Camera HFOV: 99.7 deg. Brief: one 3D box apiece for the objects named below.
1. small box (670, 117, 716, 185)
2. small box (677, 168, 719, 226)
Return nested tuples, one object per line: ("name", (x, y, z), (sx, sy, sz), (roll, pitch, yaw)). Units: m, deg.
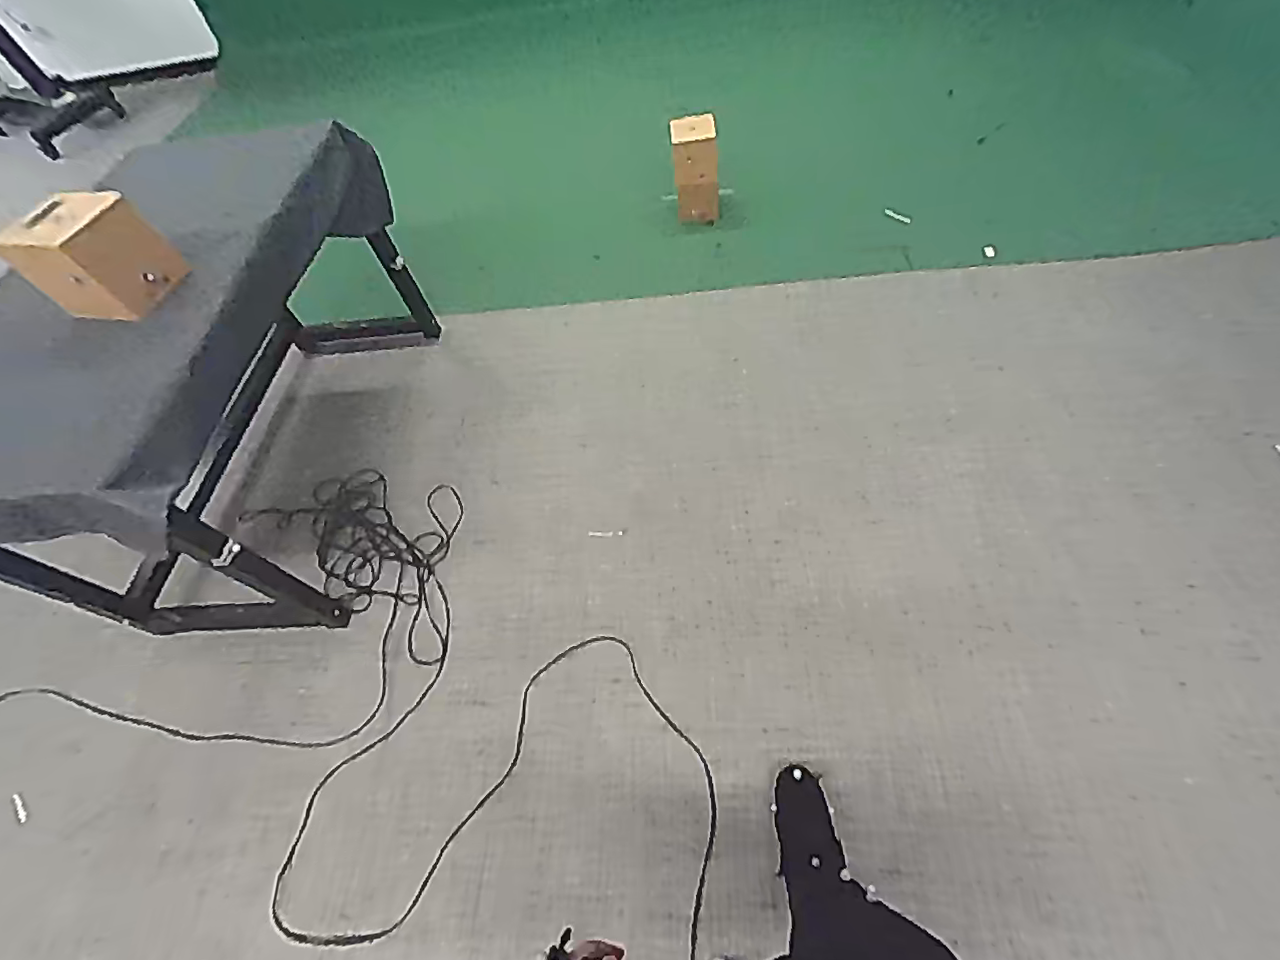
("small box", (0.208, -1.269, 2.102), (0.168, 0.176, 0.179), (-5, 56, 6))
("small box", (0.237, -1.185, 2.238), (0.168, 0.176, 0.179), (-4, 57, 7))
